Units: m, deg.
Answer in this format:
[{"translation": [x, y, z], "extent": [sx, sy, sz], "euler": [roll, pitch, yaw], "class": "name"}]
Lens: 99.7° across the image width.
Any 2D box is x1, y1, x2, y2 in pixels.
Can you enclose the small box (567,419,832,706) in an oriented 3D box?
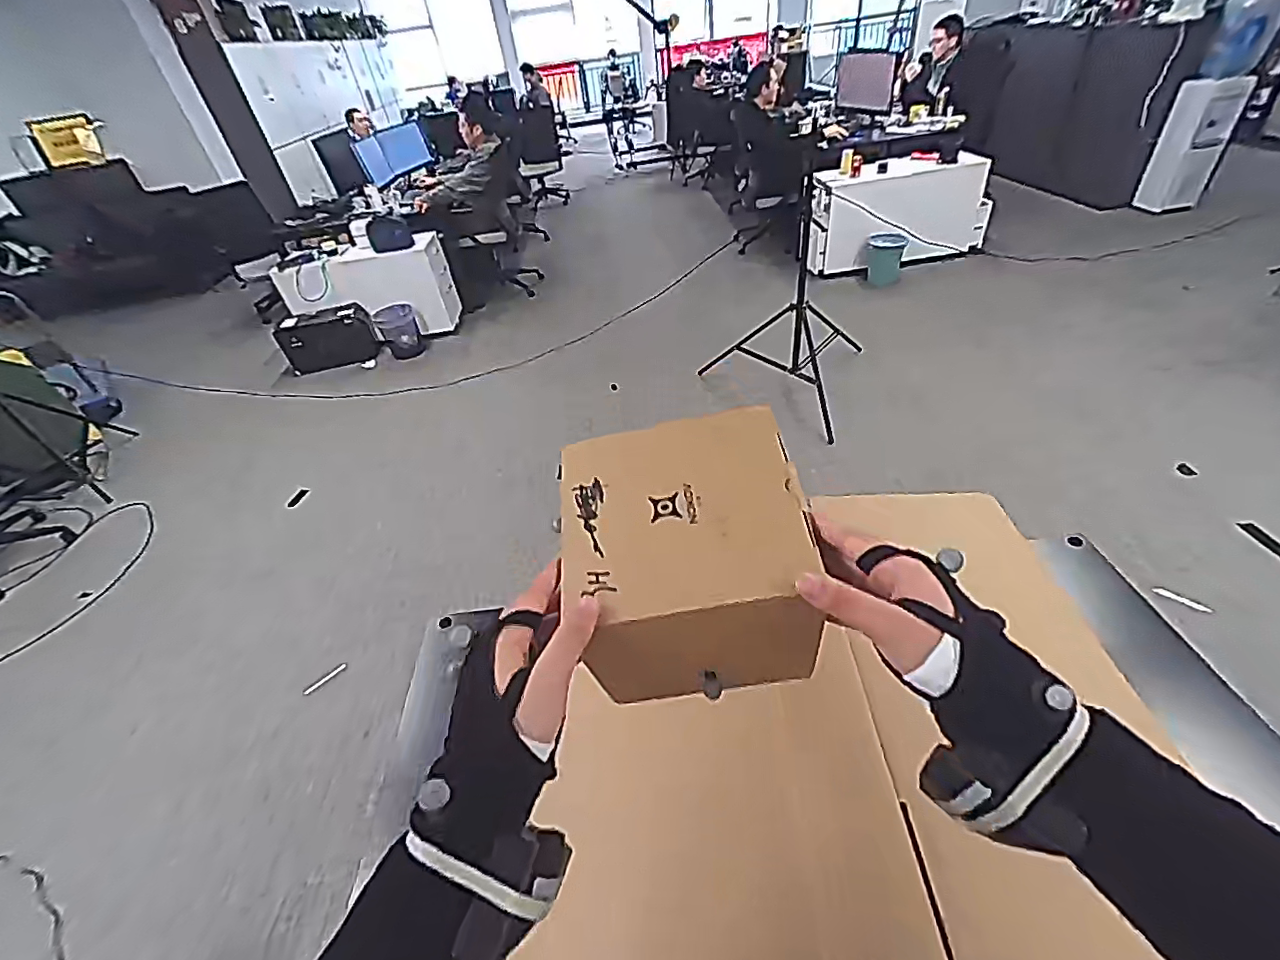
[{"translation": [0.043, 0.076, 0.459], "extent": [0.179, 0.176, 0.168], "euler": [-10, 50, 4], "class": "small box"}]
